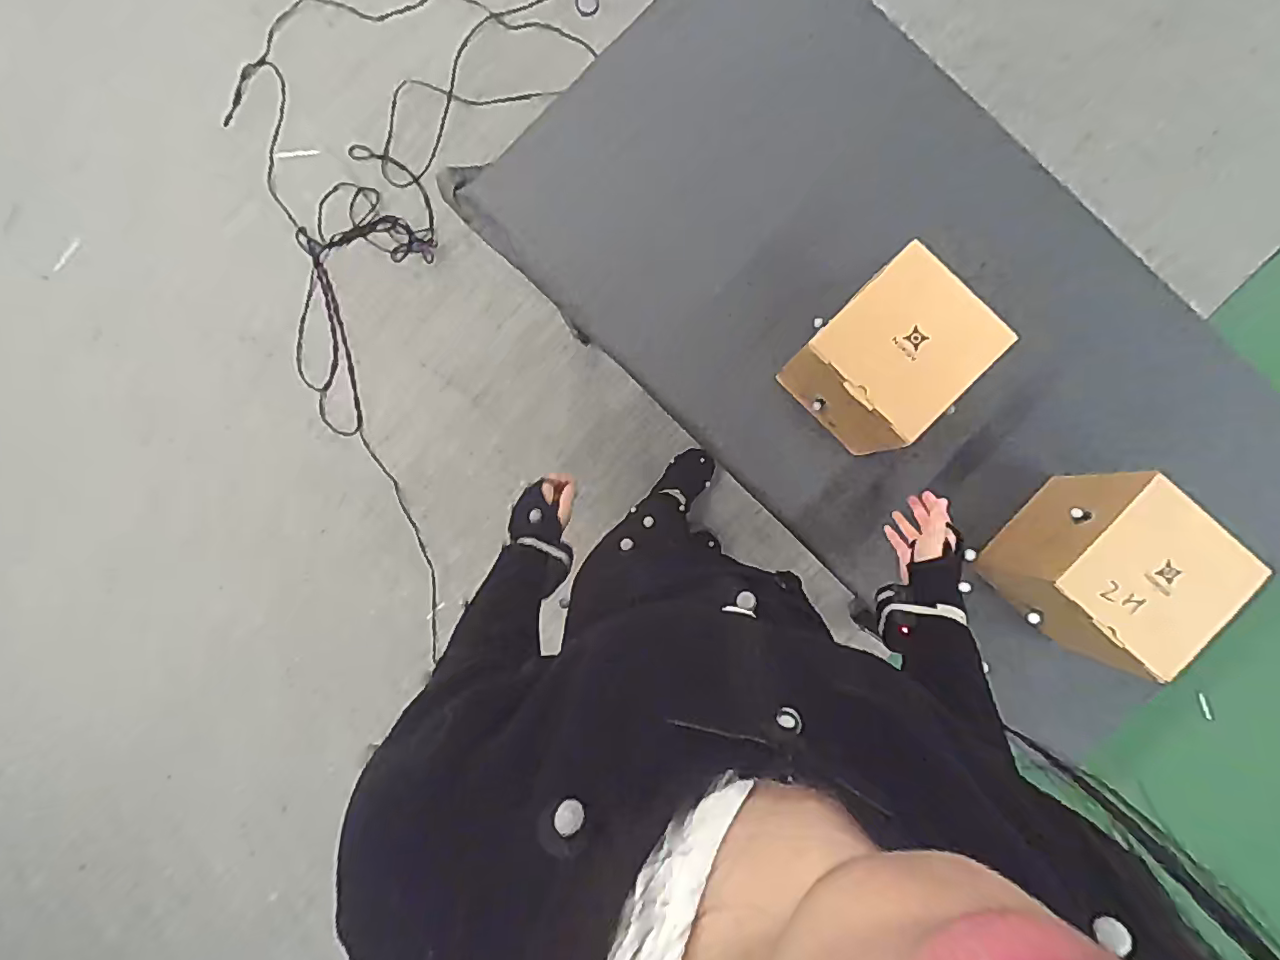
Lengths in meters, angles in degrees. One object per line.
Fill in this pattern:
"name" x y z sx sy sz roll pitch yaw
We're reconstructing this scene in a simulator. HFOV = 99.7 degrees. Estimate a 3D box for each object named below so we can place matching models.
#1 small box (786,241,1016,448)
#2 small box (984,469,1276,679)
"small box" 0.316 -0.159 0.698 0.168 0.176 0.179 45 91 2
"small box" 0.586 0.105 0.677 0.168 0.176 0.179 43 91 4
